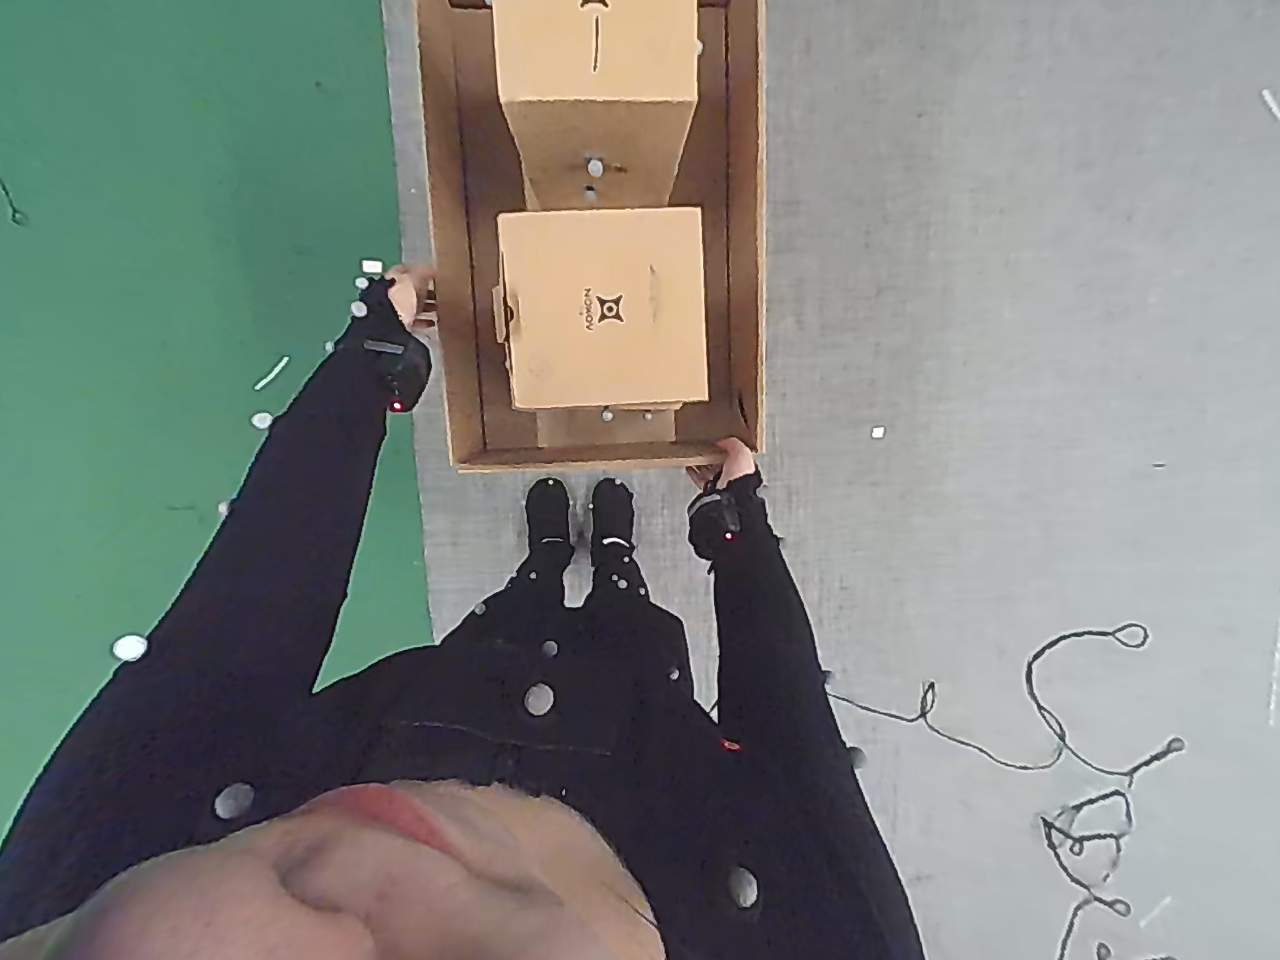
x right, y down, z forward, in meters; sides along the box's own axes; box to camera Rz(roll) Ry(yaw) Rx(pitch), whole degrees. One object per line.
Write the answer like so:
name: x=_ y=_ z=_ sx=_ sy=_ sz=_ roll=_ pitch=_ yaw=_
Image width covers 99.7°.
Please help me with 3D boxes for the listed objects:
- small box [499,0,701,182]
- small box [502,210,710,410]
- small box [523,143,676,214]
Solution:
small box: x=-0.037 y=-0.407 z=0.511 sx=0.168 sy=0.176 sz=0.179 roll=-2 pitch=100 yaw=-3
small box: x=-0.032 y=-0.158 z=0.551 sx=0.179 sy=0.176 sz=0.168 roll=-4 pitch=98 yaw=-4
small box: x=-0.046 y=-0.438 z=0.673 sx=0.179 sy=0.176 sz=0.168 roll=-1 pitch=100 yaw=-2
